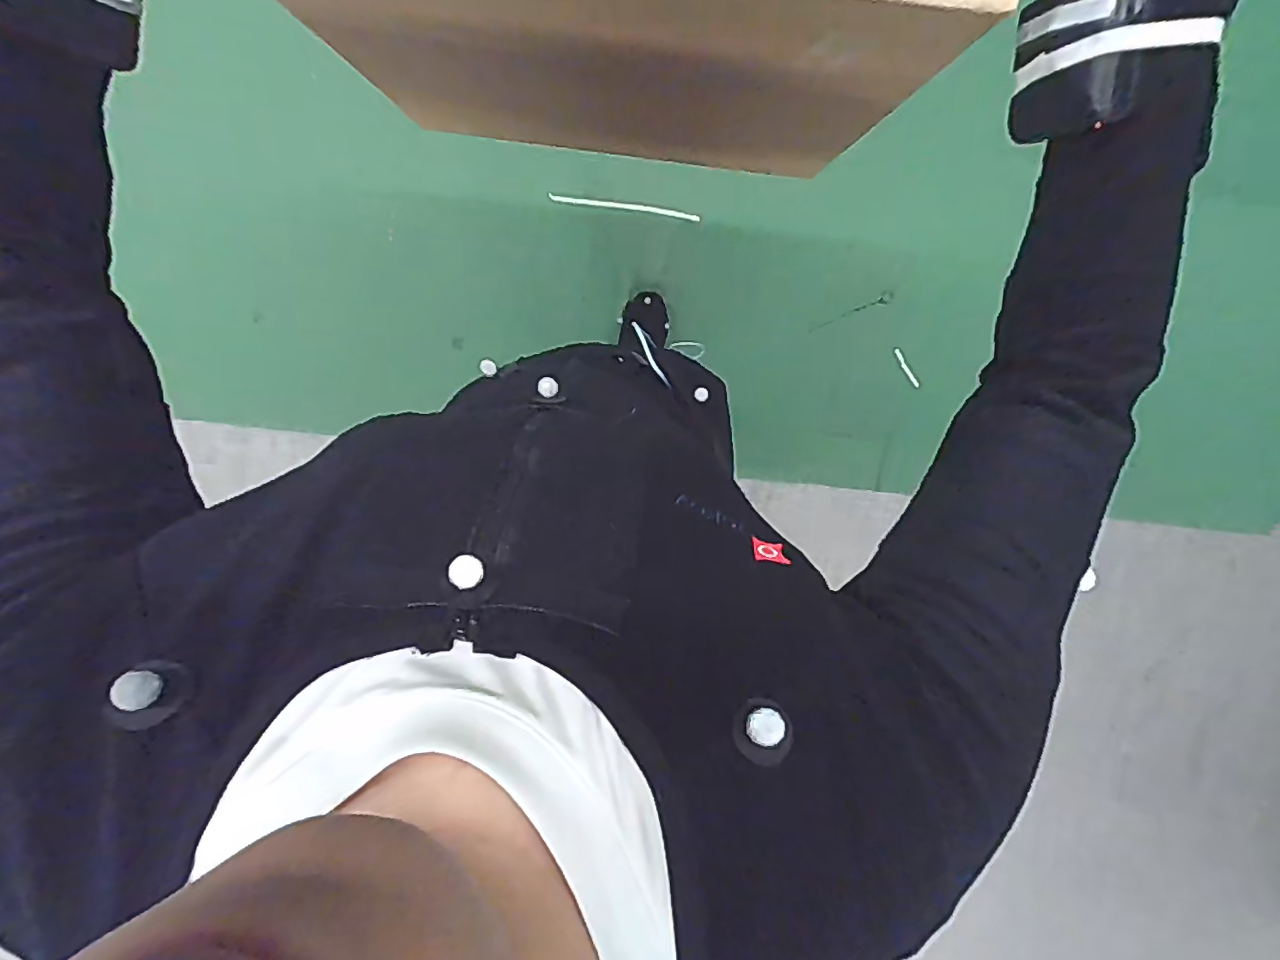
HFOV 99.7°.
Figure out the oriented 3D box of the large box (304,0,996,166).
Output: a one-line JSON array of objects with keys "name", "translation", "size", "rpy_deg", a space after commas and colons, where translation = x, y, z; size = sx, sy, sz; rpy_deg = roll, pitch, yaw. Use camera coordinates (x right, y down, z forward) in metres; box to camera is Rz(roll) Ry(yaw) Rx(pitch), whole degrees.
[{"name": "large box", "translation": [-0.001, -0.442, 0.369], "size": [0.408, 0.320, 0.320], "rpy_deg": [6, 107, -2]}]
